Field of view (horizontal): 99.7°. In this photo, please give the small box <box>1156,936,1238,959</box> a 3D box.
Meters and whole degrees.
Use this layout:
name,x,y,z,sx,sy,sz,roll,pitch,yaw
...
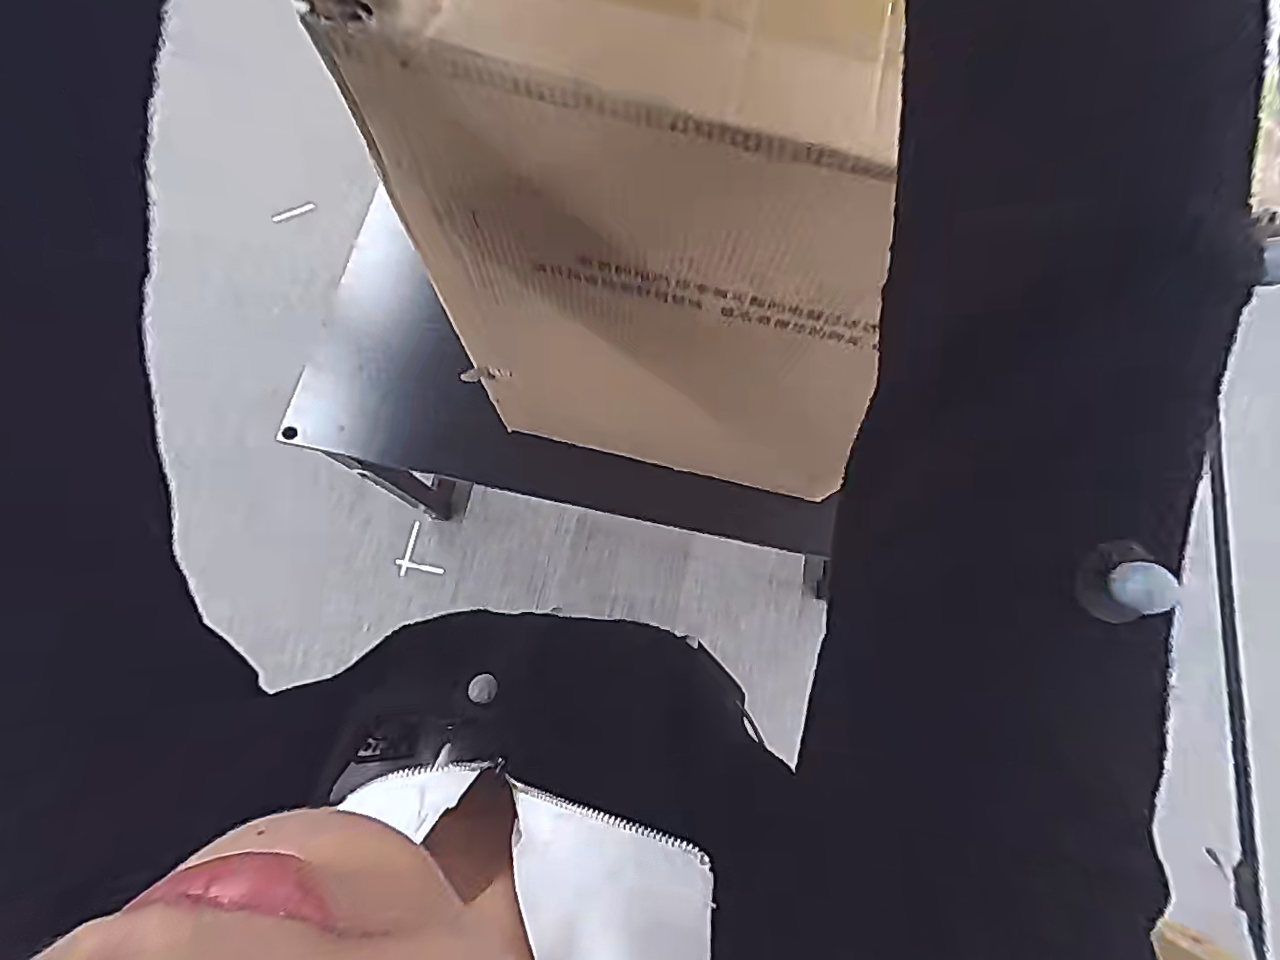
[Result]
name,x,y,z,sx,sy,sz,roll,pitch,yaw
small box,1.277,1.139,1.168,0.179,0.176,0.168,16,75,1

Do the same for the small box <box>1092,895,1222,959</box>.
name,x,y,z,sx,sy,sz,roll,pitch,yaw
small box,1.263,1.172,1.329,0.168,0.176,0.179,16,76,0
